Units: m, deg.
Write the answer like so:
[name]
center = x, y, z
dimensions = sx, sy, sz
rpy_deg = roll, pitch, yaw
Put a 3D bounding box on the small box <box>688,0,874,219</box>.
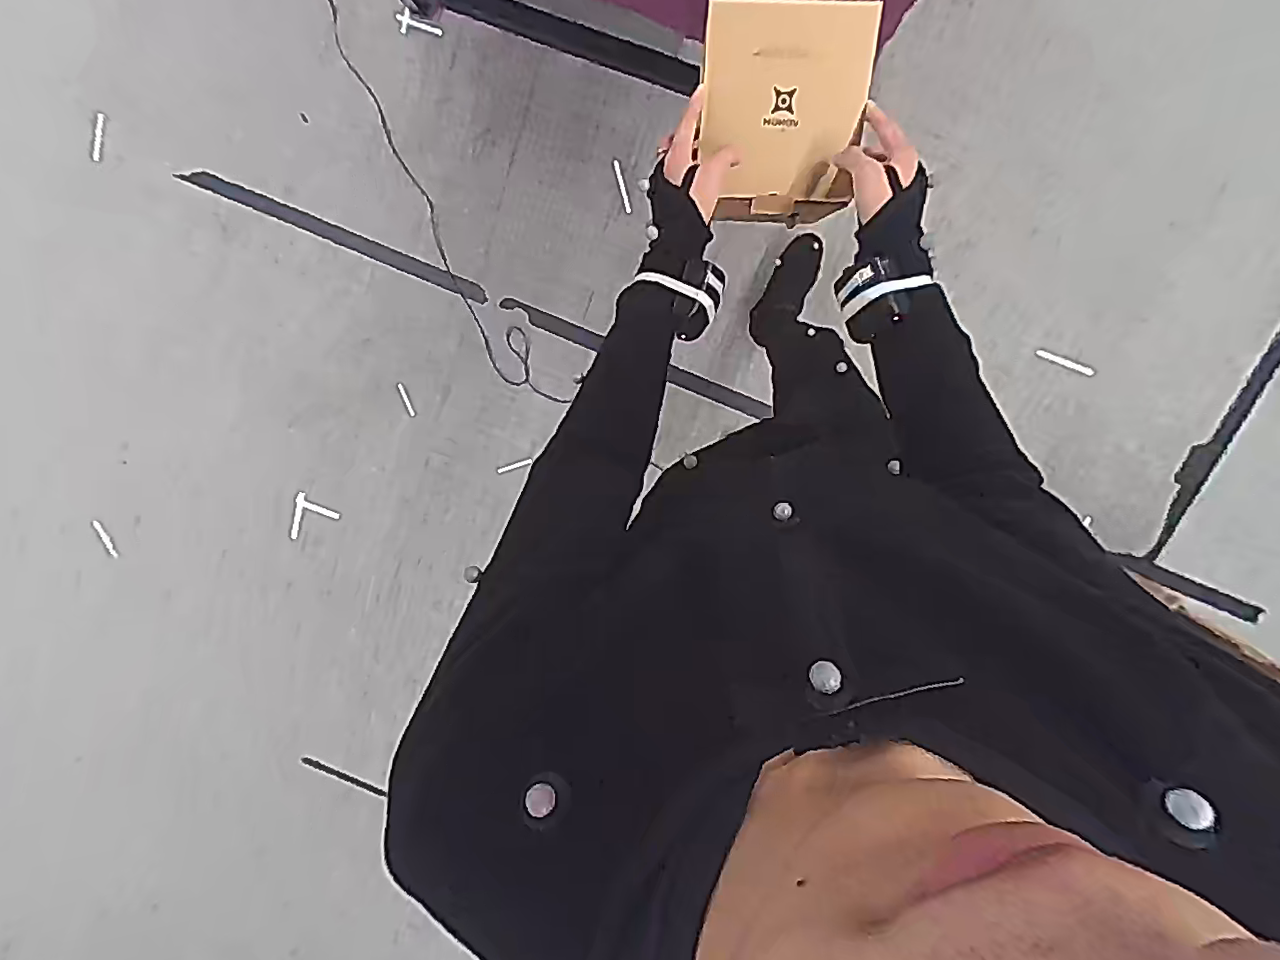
[small box]
center = 0.143, -0.405, 0.620
dimensions = 0.168, 0.176, 0.179
rpy_deg = 3, 108, 2
